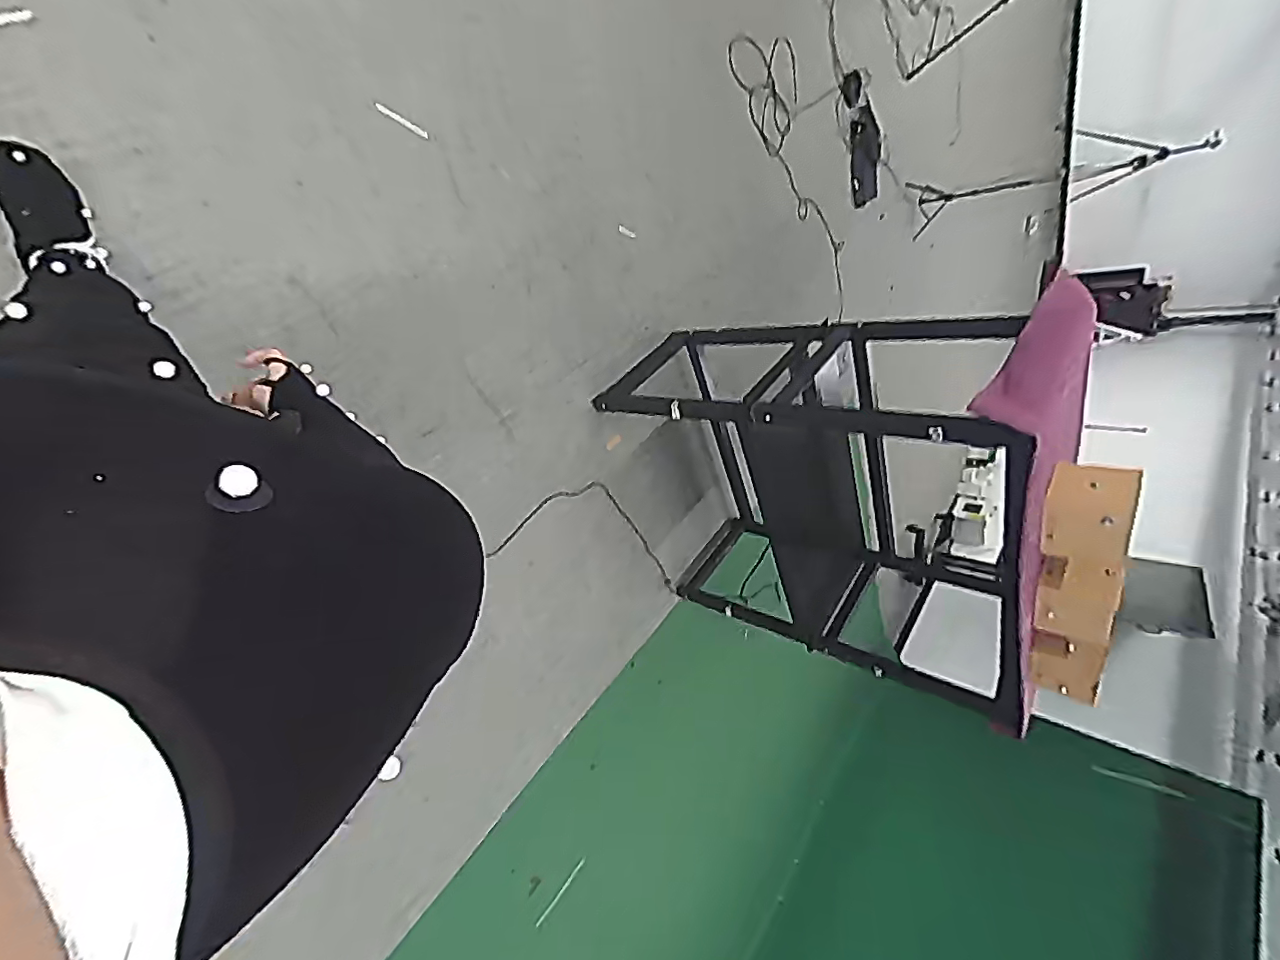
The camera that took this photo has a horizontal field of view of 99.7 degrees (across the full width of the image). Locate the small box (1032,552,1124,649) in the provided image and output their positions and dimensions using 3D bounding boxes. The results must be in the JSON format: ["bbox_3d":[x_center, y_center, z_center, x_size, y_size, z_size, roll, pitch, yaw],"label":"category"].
[{"bbox_3d":[1.186,0.320,1.473,0.168,0.176,0.179,-46,129,-32],"label":"small box"}]

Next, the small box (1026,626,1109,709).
[{"bbox_3d":[1.278,0.539,1.620,0.179,0.176,0.168,-41,126,-34],"label":"small box"}]
